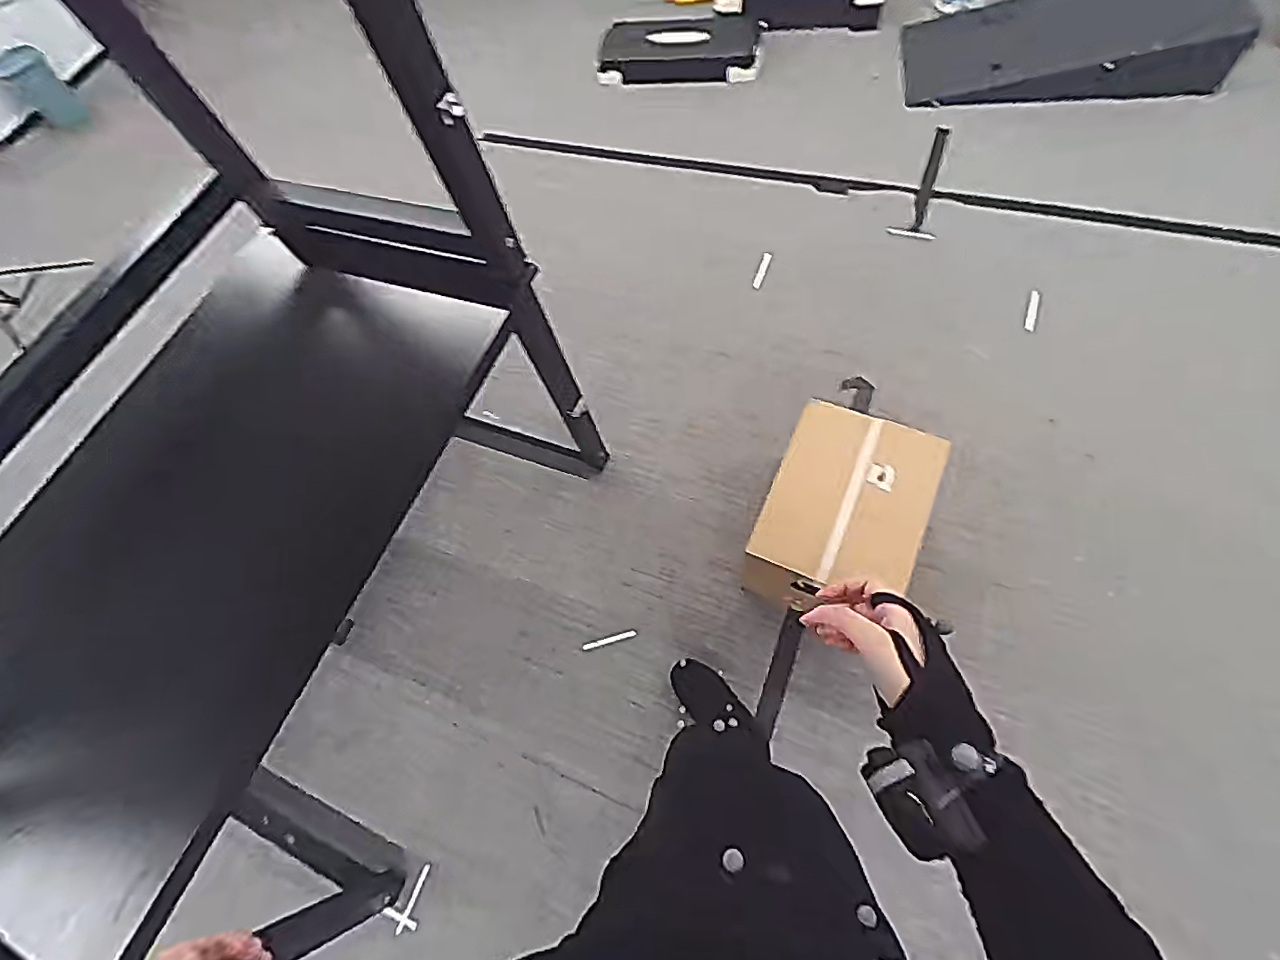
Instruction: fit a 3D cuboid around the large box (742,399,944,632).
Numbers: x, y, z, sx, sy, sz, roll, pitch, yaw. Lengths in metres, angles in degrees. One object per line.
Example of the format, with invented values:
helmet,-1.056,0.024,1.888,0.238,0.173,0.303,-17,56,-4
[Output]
large box,0.453,0.092,1.268,0.320,0.320,0.408,22,70,16
